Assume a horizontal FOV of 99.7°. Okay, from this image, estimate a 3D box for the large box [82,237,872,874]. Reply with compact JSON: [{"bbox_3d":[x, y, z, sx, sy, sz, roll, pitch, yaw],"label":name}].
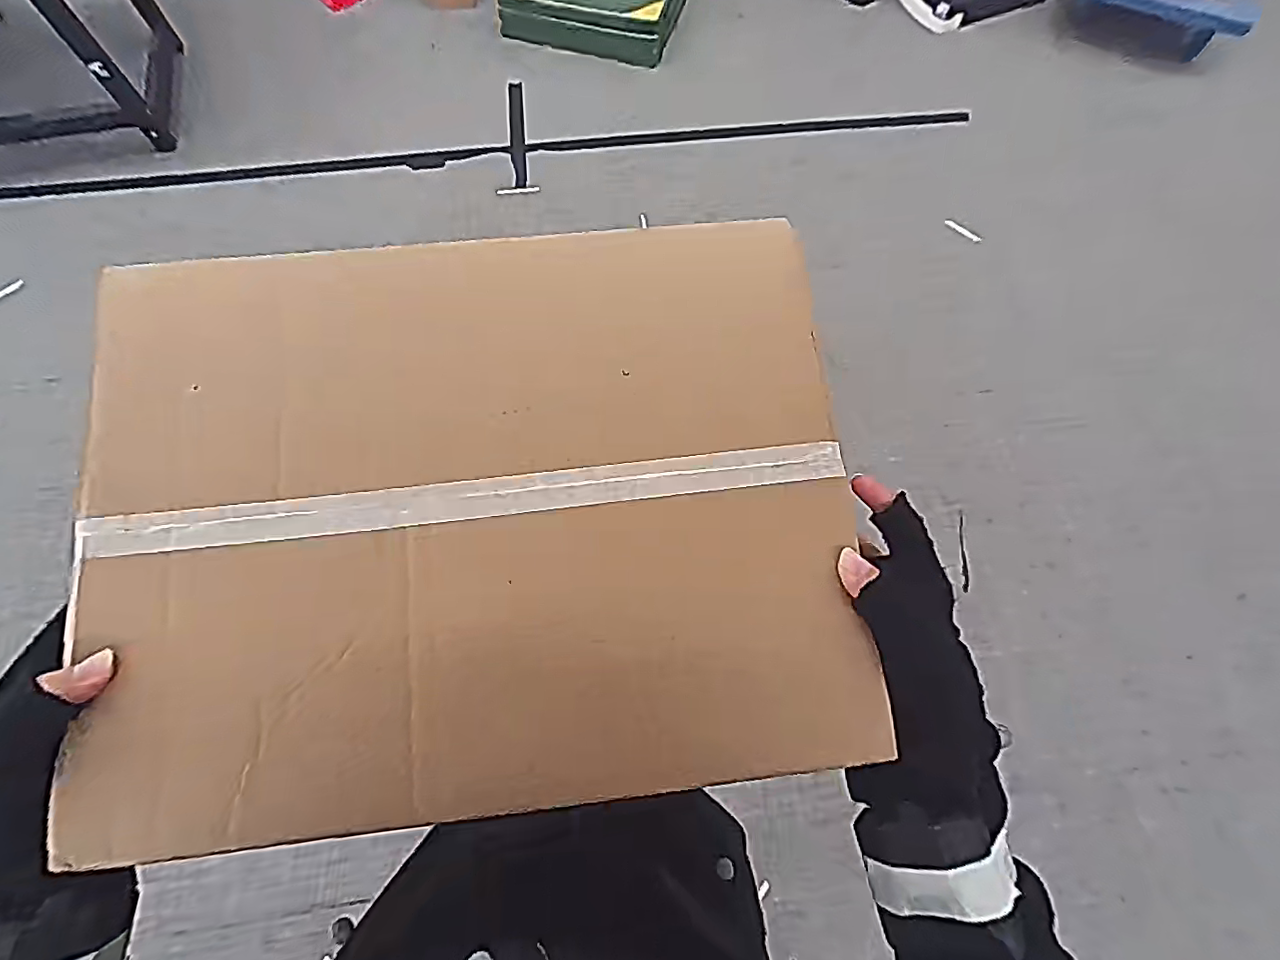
[{"bbox_3d":[-0.095,0.047,0.446,0.408,0.320,0.320,-6,78,-3],"label":"large box"}]
